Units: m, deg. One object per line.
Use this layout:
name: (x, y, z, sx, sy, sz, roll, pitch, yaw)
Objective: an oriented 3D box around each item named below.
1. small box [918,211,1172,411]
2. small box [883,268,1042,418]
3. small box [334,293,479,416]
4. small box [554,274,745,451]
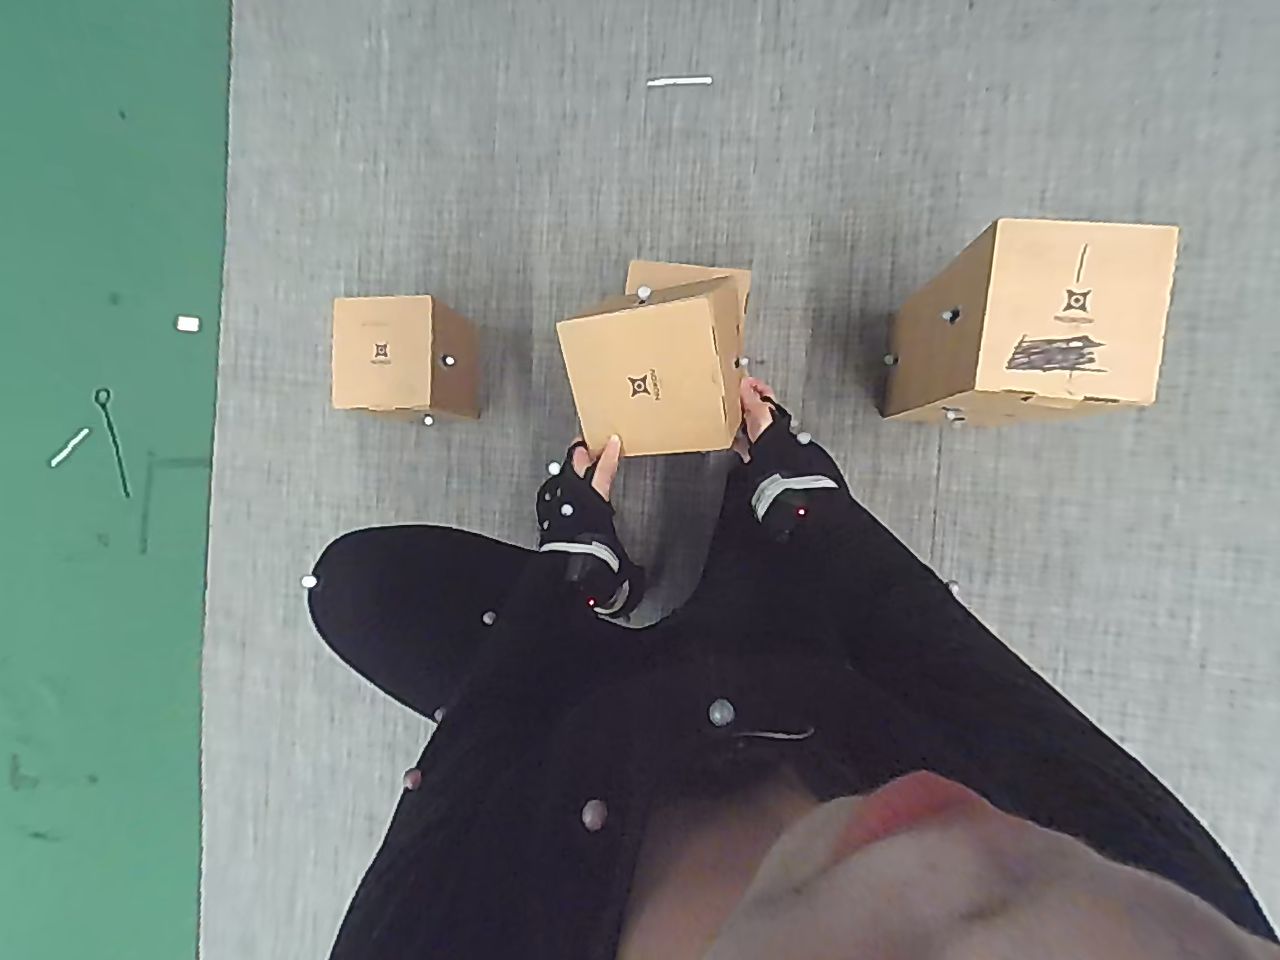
small box: (0.434, -0.177, 0.614, 0.168, 0.176, 0.179, 7, 91, 9)
small box: (0.462, -0.186, 0.776, 0.168, 0.176, 0.179, 6, 93, 9)
small box: (-0.384, -0.202, 0.913, 0.168, 0.176, 0.179, 2, 91, 8)
small box: (0.023, -0.147, 0.663, 0.179, 0.176, 0.168, -4, 115, 20)
